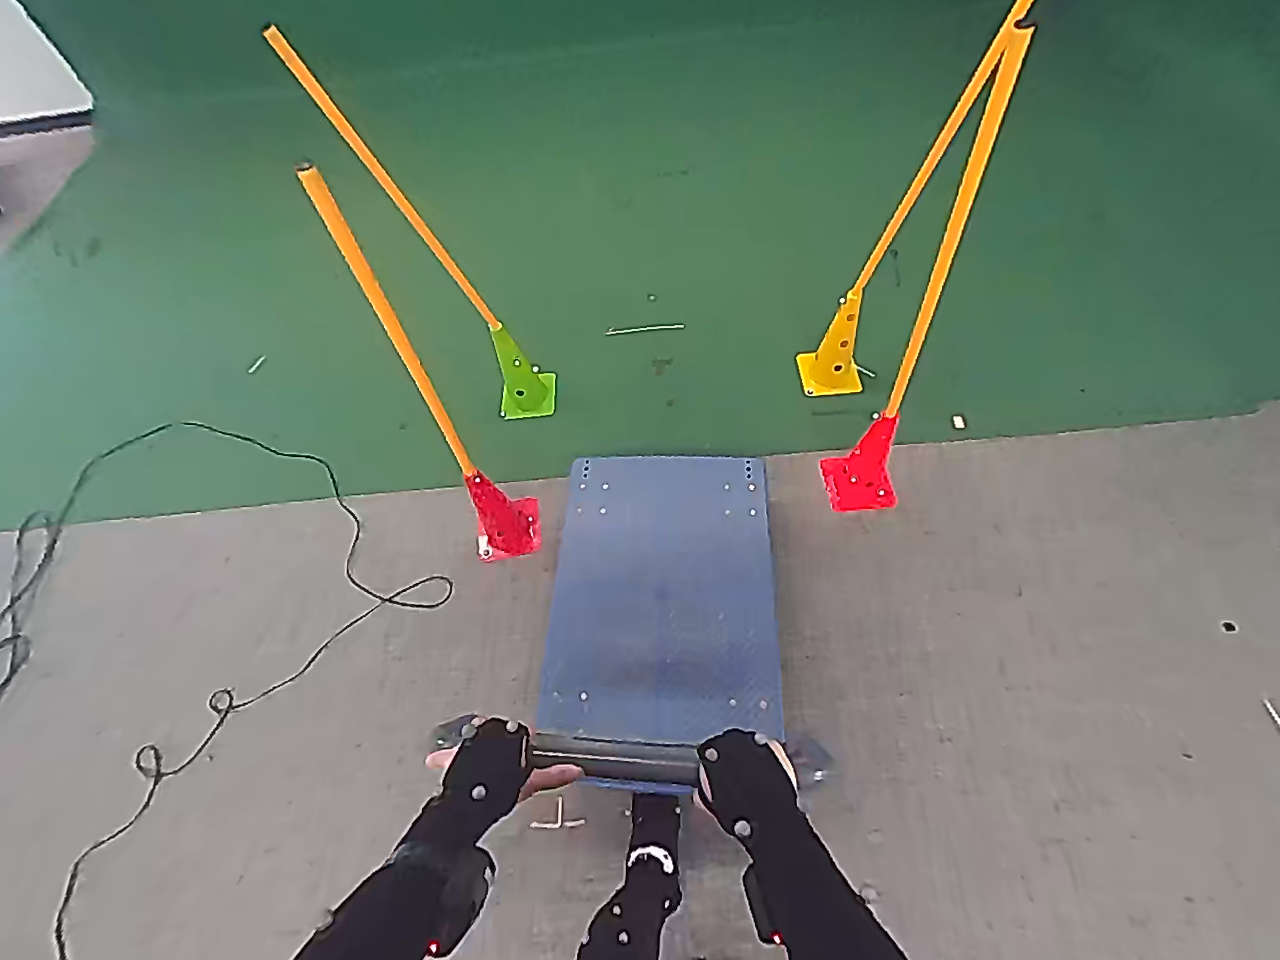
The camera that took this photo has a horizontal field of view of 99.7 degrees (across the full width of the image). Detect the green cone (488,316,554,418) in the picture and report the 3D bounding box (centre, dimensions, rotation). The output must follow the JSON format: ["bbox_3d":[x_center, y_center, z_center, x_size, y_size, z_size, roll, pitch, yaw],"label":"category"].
[{"bbox_3d":[-0.436,-0.406,1.852,0.200,0.368,0.202,-6,58,4],"label":"green cone"}]

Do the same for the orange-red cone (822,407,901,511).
[{"bbox_3d":[0.668,-0.084,1.547,0.198,0.360,0.199,-5,57,2],"label":"orange-red cone"}]
